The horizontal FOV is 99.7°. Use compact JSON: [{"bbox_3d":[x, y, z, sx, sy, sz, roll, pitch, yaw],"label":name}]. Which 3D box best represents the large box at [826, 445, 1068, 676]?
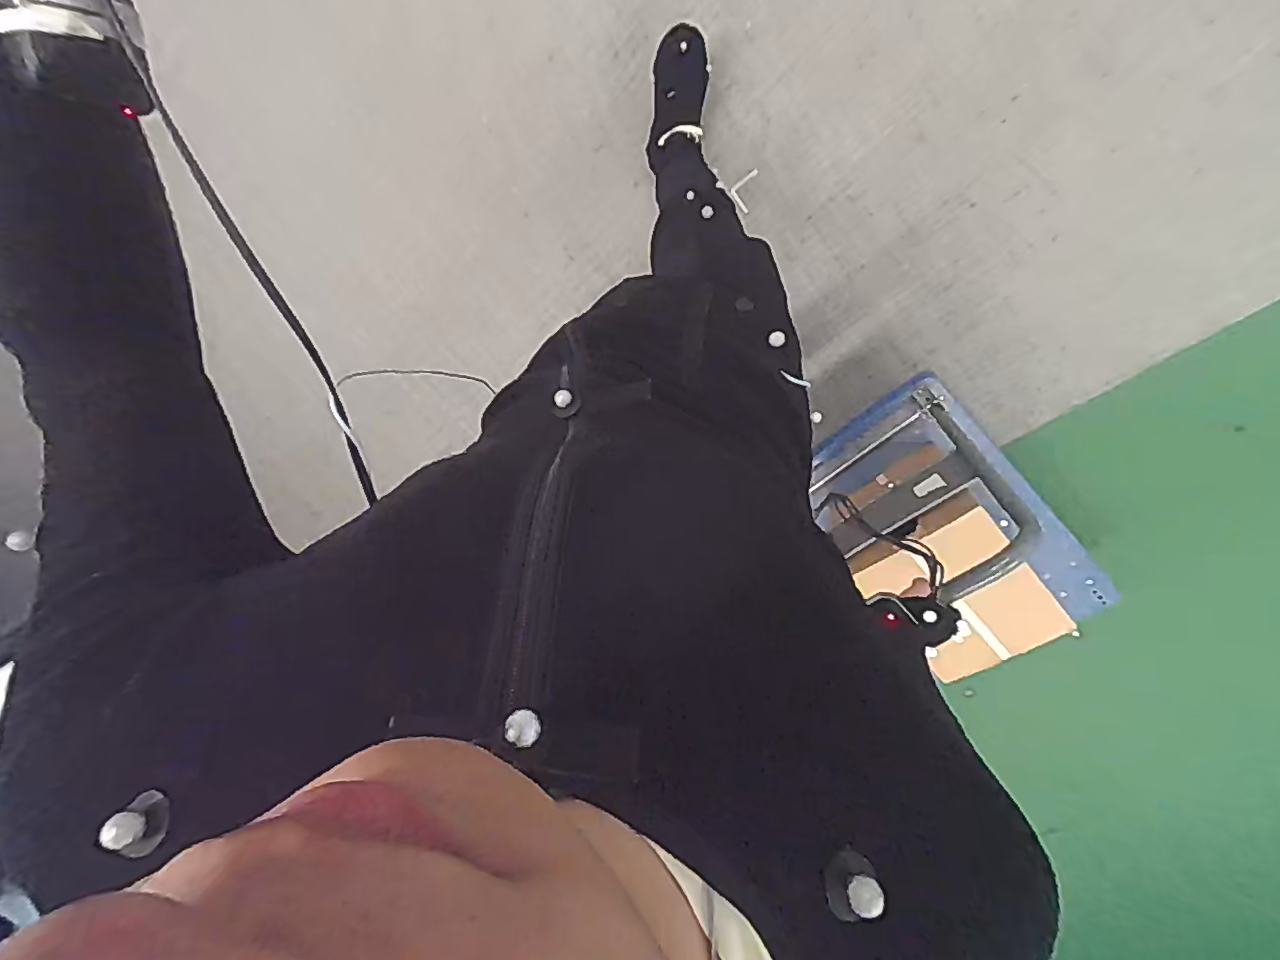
[{"bbox_3d":[0.725,0.192,1.339,0.320,0.320,0.408,-38,106,26],"label":"large box"}]
